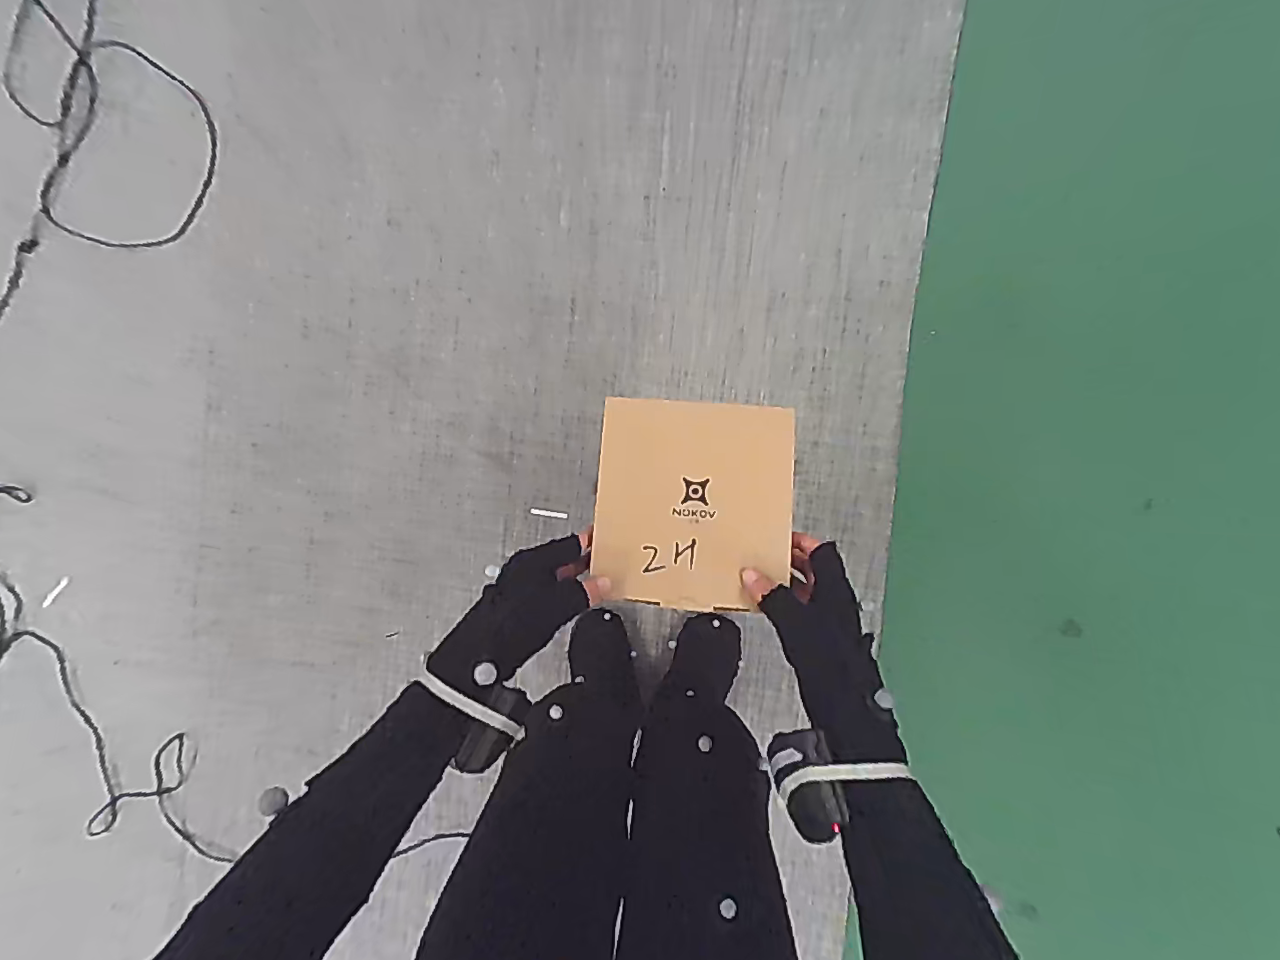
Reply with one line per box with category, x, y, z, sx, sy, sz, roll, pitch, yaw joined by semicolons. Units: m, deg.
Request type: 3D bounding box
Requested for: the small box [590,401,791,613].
small box;0.049;0.034;0.551;0.168;0.176;0.179;5;81;4
